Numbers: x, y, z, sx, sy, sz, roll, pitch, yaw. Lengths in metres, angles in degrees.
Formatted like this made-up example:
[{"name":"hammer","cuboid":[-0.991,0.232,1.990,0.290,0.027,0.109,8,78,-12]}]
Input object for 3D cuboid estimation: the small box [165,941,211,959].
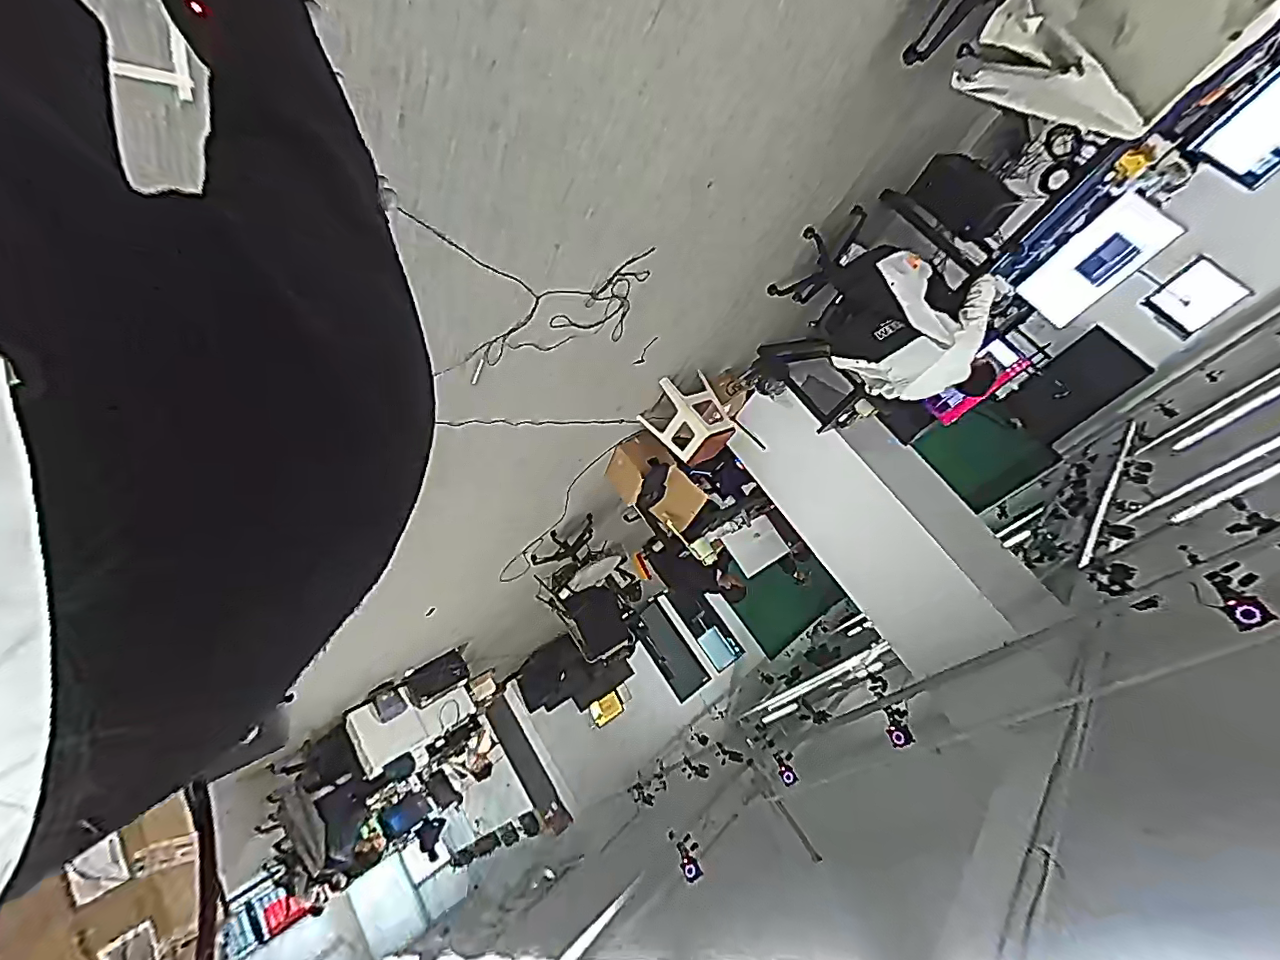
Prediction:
[{"name":"small box","cuboid":[-1.266,1.397,1.464,0.168,0.176,0.179,-20,155,-40]}]
